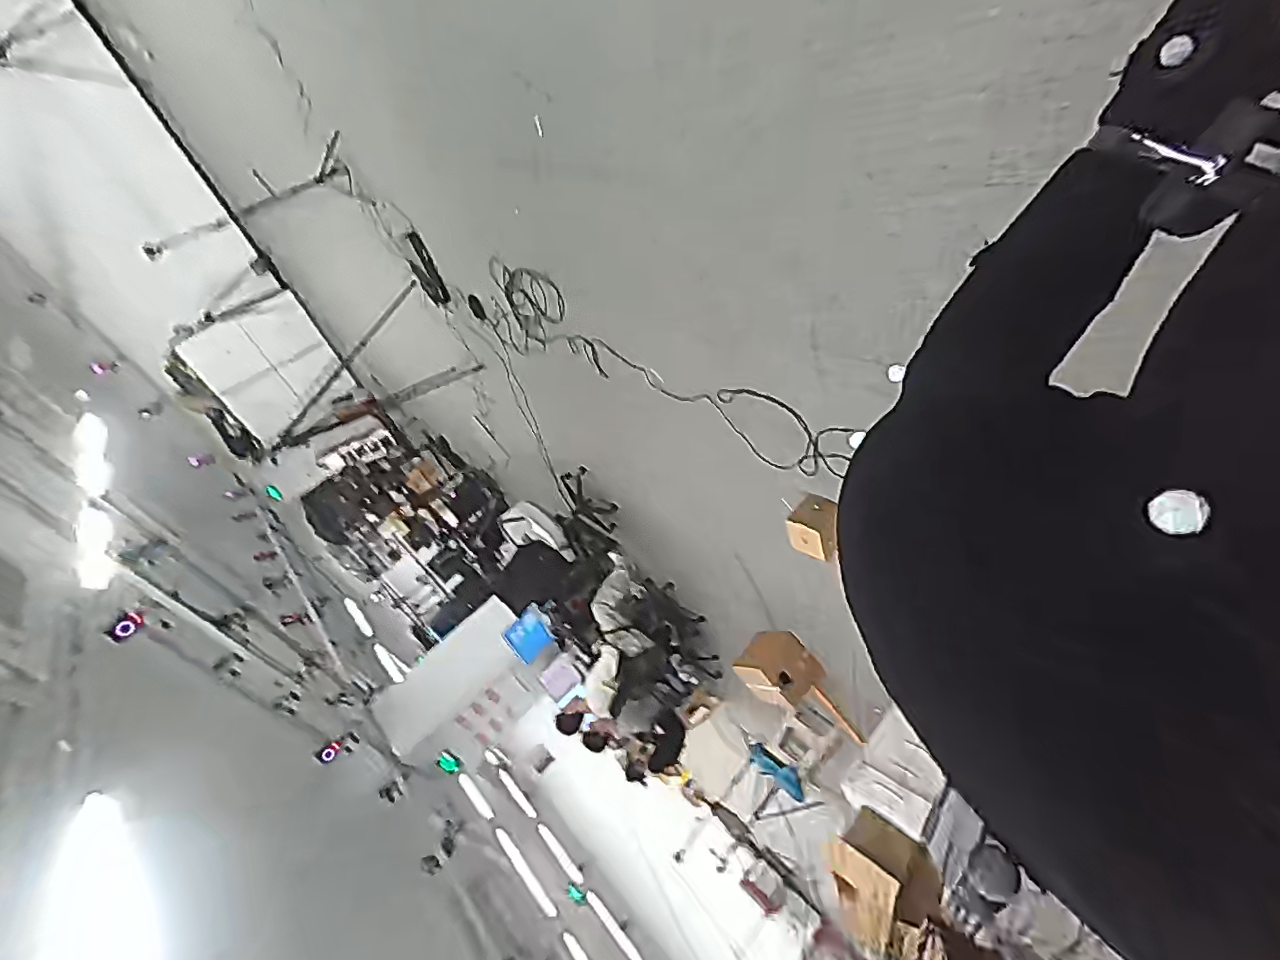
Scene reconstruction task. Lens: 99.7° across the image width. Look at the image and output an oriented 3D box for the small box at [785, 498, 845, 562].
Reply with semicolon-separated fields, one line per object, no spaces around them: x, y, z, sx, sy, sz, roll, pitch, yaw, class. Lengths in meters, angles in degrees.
0.737;0.205;2.263;0.168;0.176;0.179;21;144;48;small box
